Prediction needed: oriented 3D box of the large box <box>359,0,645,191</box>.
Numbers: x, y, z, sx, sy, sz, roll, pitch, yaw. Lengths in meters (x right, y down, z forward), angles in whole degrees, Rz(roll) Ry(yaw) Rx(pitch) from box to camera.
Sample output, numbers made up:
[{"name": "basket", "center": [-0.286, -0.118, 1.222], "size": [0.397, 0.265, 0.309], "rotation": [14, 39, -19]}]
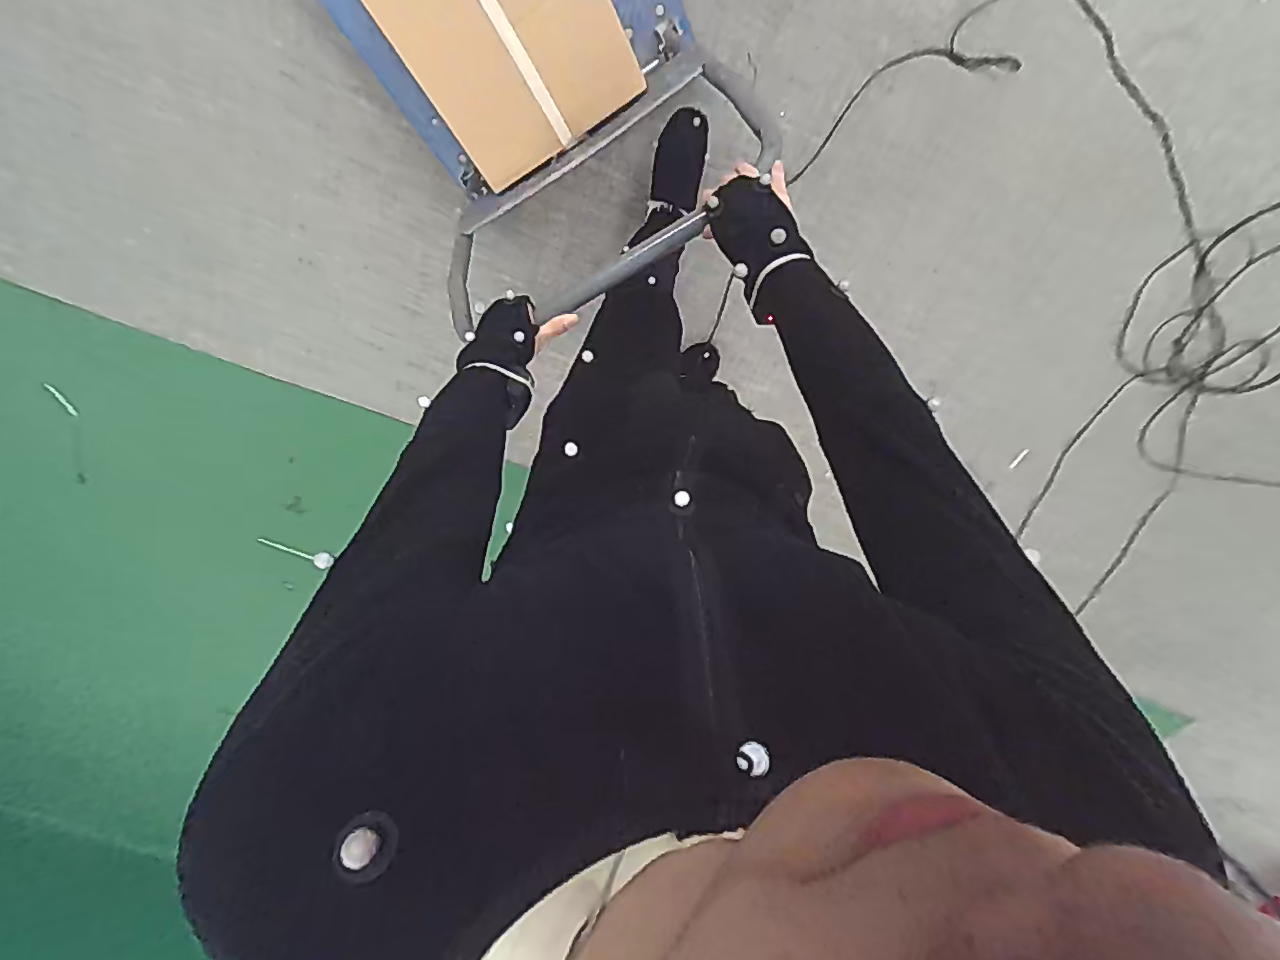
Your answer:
[{"name": "large box", "center": [-0.231, -0.790, 0.901], "size": [0.320, 0.320, 0.408], "rotation": [-27, 130, 16]}]
